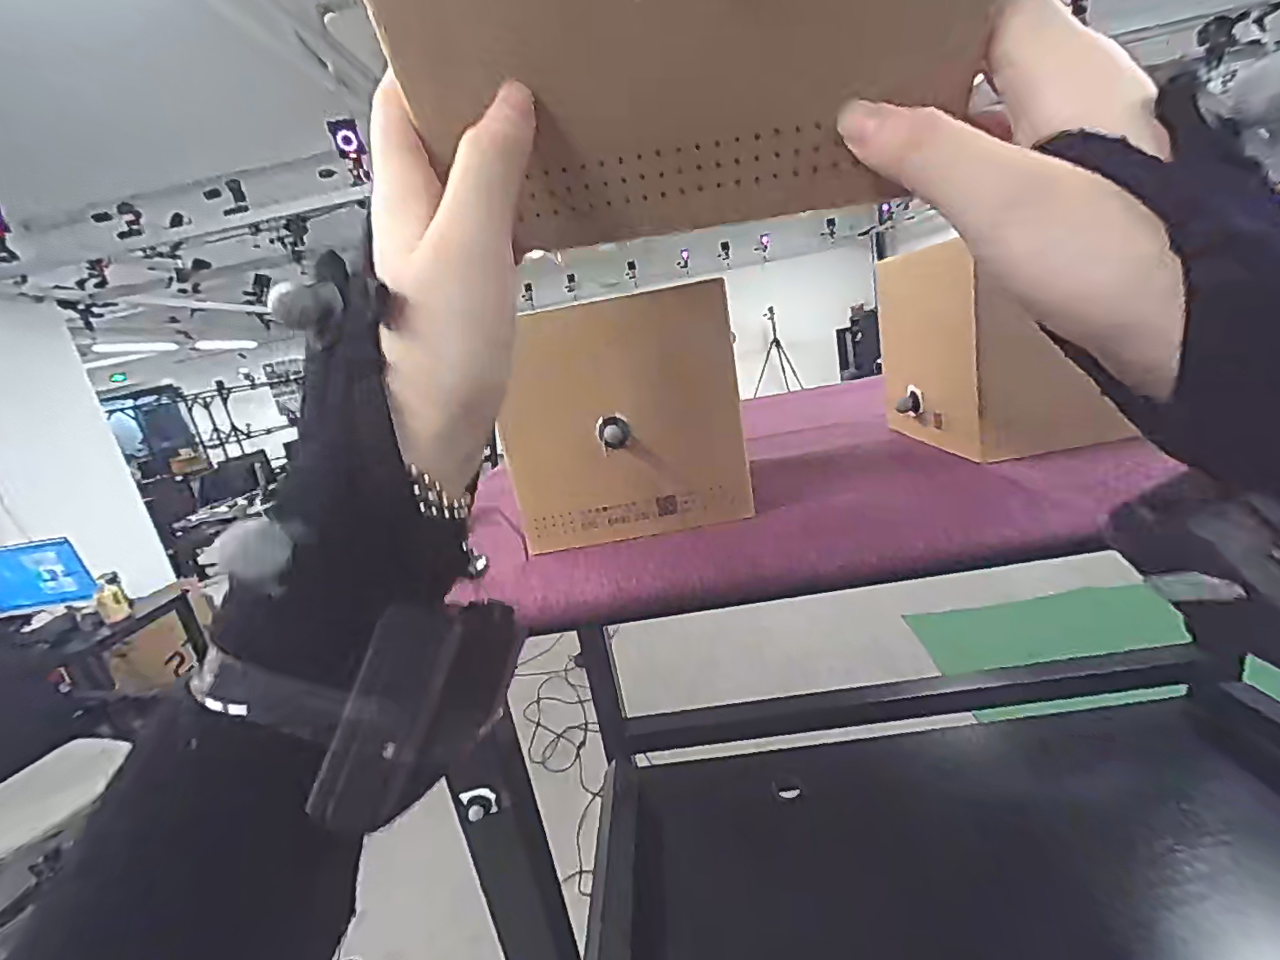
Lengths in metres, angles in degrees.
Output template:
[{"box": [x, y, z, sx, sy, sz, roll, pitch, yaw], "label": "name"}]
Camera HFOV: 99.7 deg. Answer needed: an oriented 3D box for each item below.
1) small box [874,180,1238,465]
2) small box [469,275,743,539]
[{"box": [0.319, -0.123, 0.451, 0.179, 0.176, 0.168, -11, 14, 3], "label": "small box"}, {"box": [-0.018, -0.059, 0.444, 0.168, 0.176, 0.179, -9, 16, 2], "label": "small box"}]
